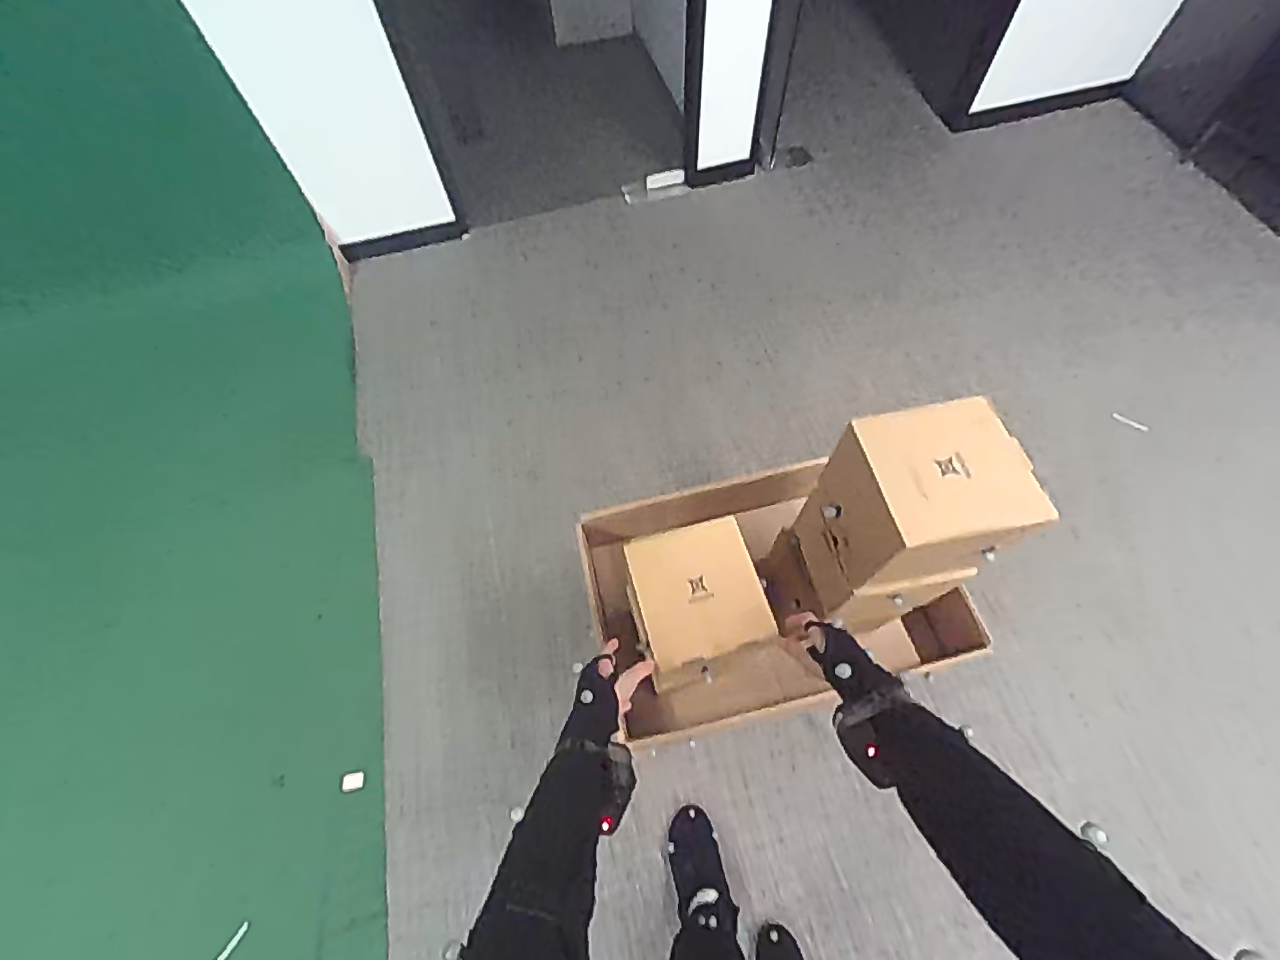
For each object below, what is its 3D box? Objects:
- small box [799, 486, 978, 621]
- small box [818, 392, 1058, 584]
[{"bbox_3d":[0.351,0.102,0.811,0.179,0.176,0.168,-10,63,-3],"label":"small box"},{"bbox_3d":[0.347,0.017,0.672,0.179,0.176,0.168,-10,62,-2],"label":"small box"}]
